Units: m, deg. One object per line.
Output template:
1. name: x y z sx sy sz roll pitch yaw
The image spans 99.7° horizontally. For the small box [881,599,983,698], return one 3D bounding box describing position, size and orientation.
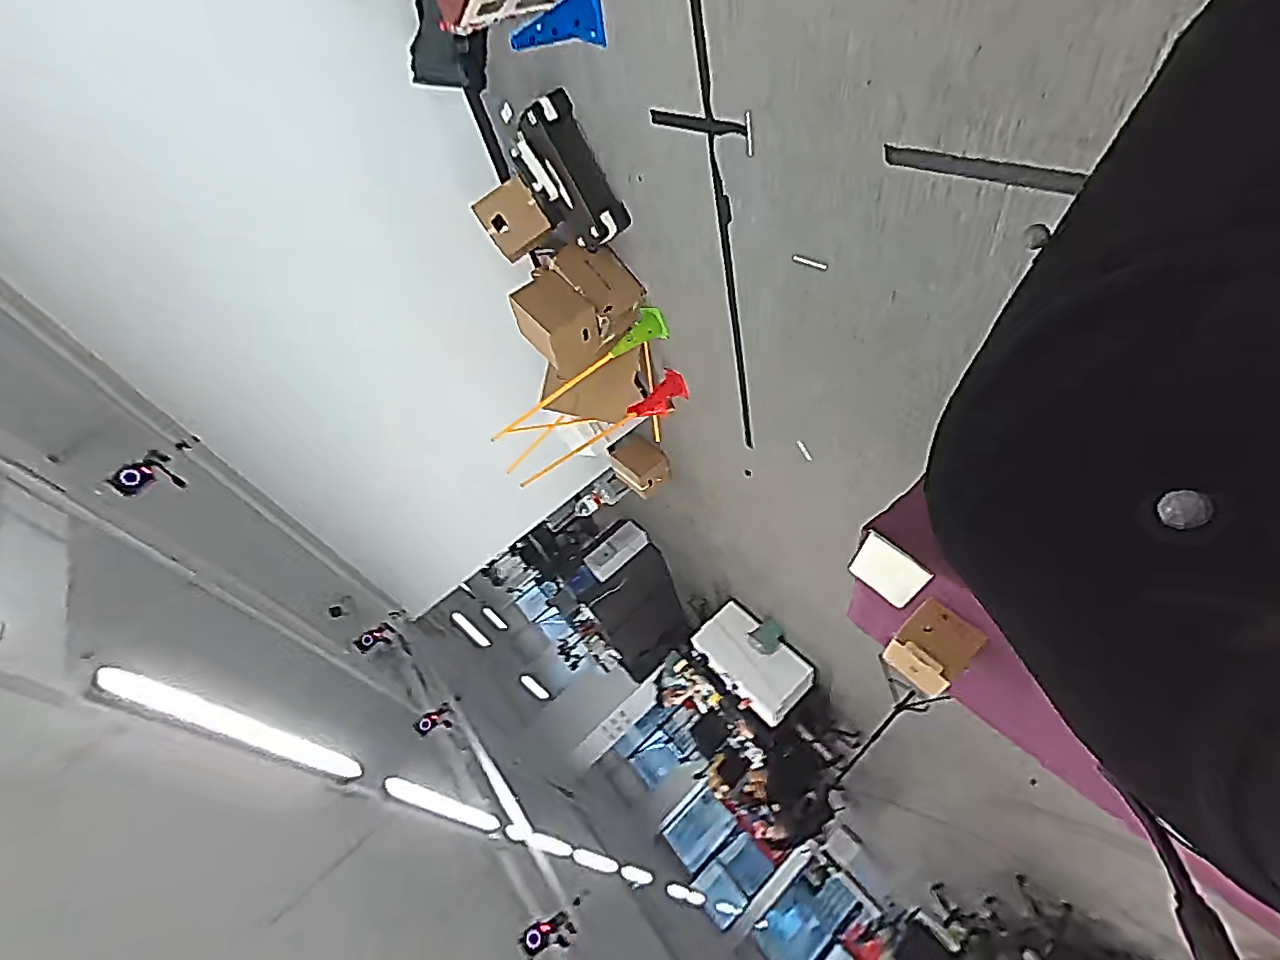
1. small box: 0.802 0.459 1.488 0.168 0.176 0.179 41 161 32
